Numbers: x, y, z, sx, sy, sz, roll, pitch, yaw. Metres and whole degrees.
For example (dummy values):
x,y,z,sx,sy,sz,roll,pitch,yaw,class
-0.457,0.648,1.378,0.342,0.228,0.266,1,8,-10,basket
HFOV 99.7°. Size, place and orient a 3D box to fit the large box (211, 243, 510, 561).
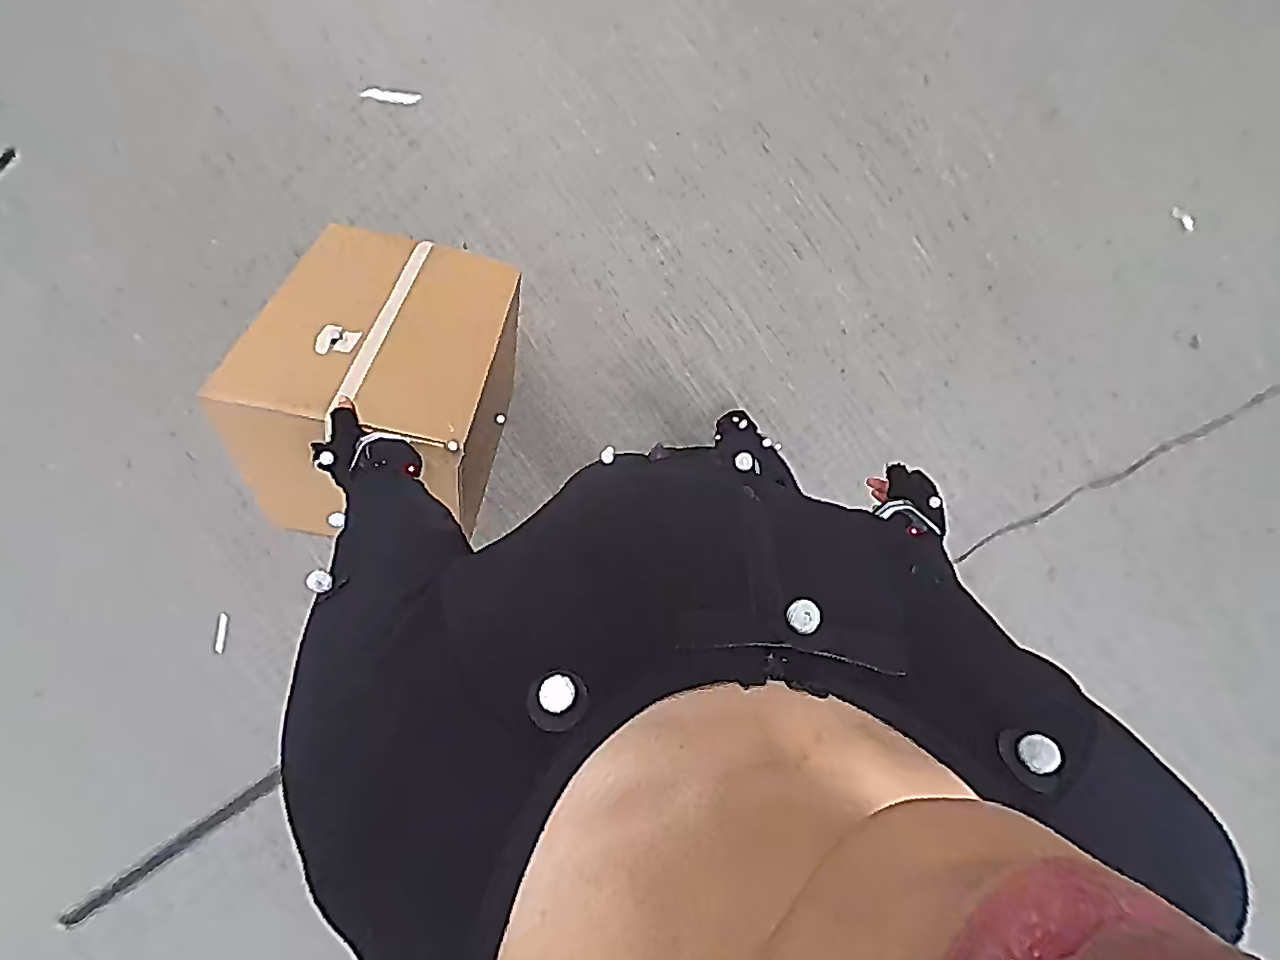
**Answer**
x,y,z,sx,sy,sz,roll,pitch,yaw,class
-0.413,-0.125,0.920,0.320,0.320,0.408,9,53,-9,large box
